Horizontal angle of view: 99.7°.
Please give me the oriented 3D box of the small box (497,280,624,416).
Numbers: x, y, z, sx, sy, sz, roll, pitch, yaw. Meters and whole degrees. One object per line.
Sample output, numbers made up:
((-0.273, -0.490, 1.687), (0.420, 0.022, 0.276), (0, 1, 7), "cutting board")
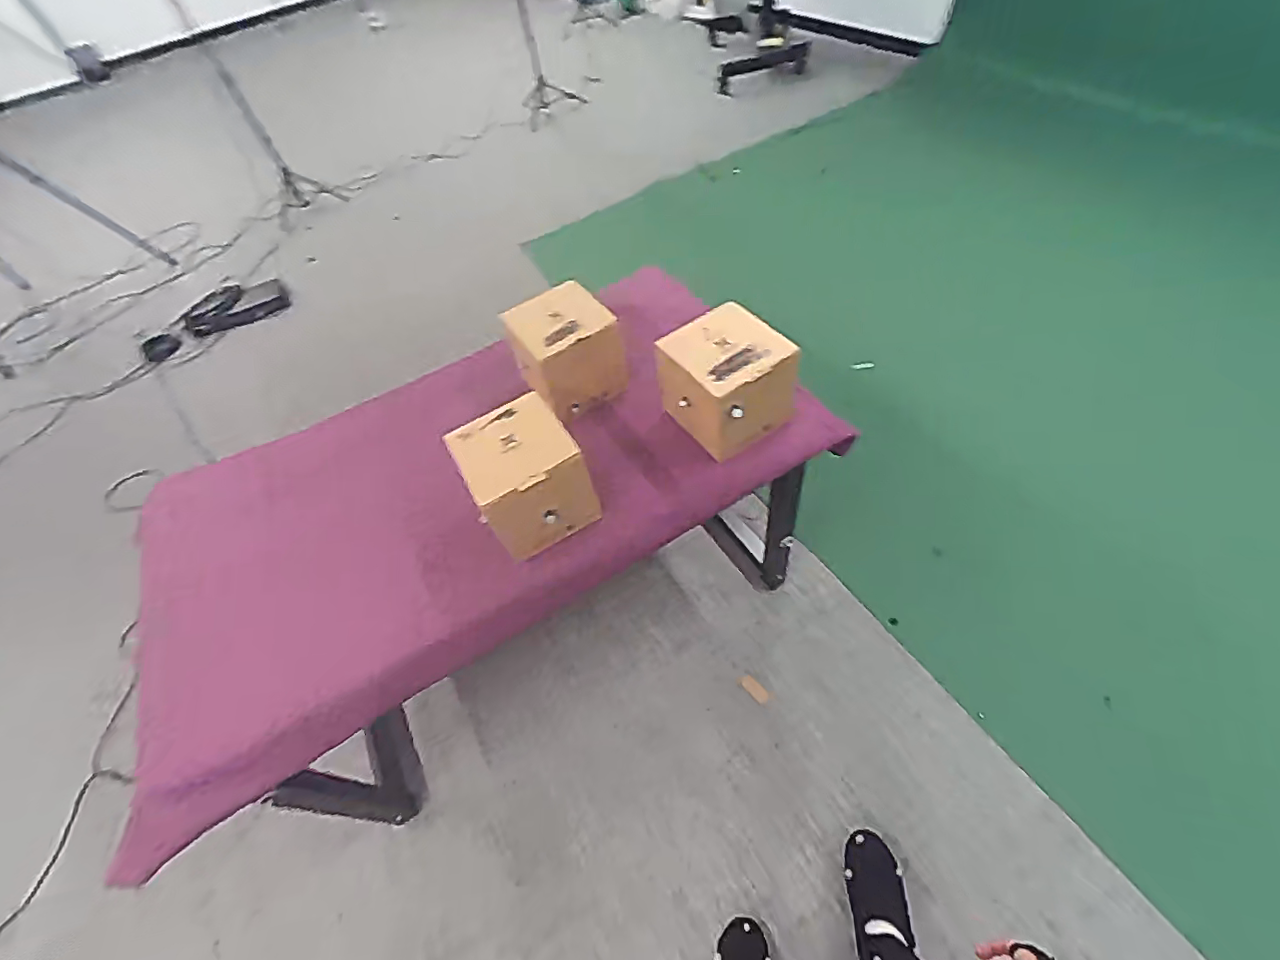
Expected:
((-0.147, -0.248, 1.053), (0.168, 0.176, 0.179), (-31, 54, -14), "small box")

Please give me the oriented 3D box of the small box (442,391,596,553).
((-0.190, -0.005, 0.880), (0.168, 0.176, 0.179), (-29, 54, -13), "small box")
